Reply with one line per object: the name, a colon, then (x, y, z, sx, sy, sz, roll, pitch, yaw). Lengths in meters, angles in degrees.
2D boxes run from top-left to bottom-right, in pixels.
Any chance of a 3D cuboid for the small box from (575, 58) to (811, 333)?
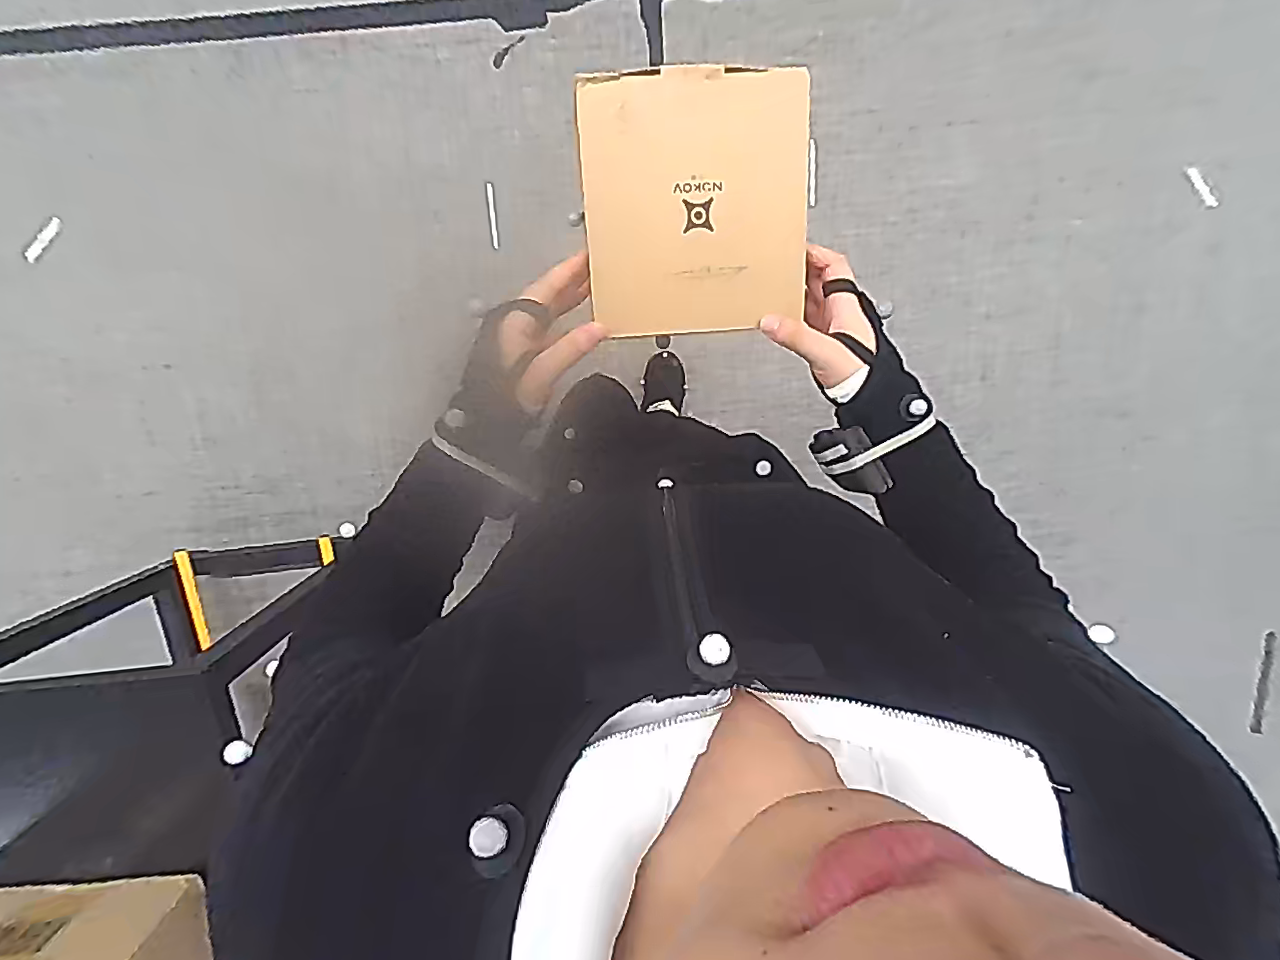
small box: (0.032, -0.221, 0.463, 0.168, 0.176, 0.179, -5, 108, -4)
